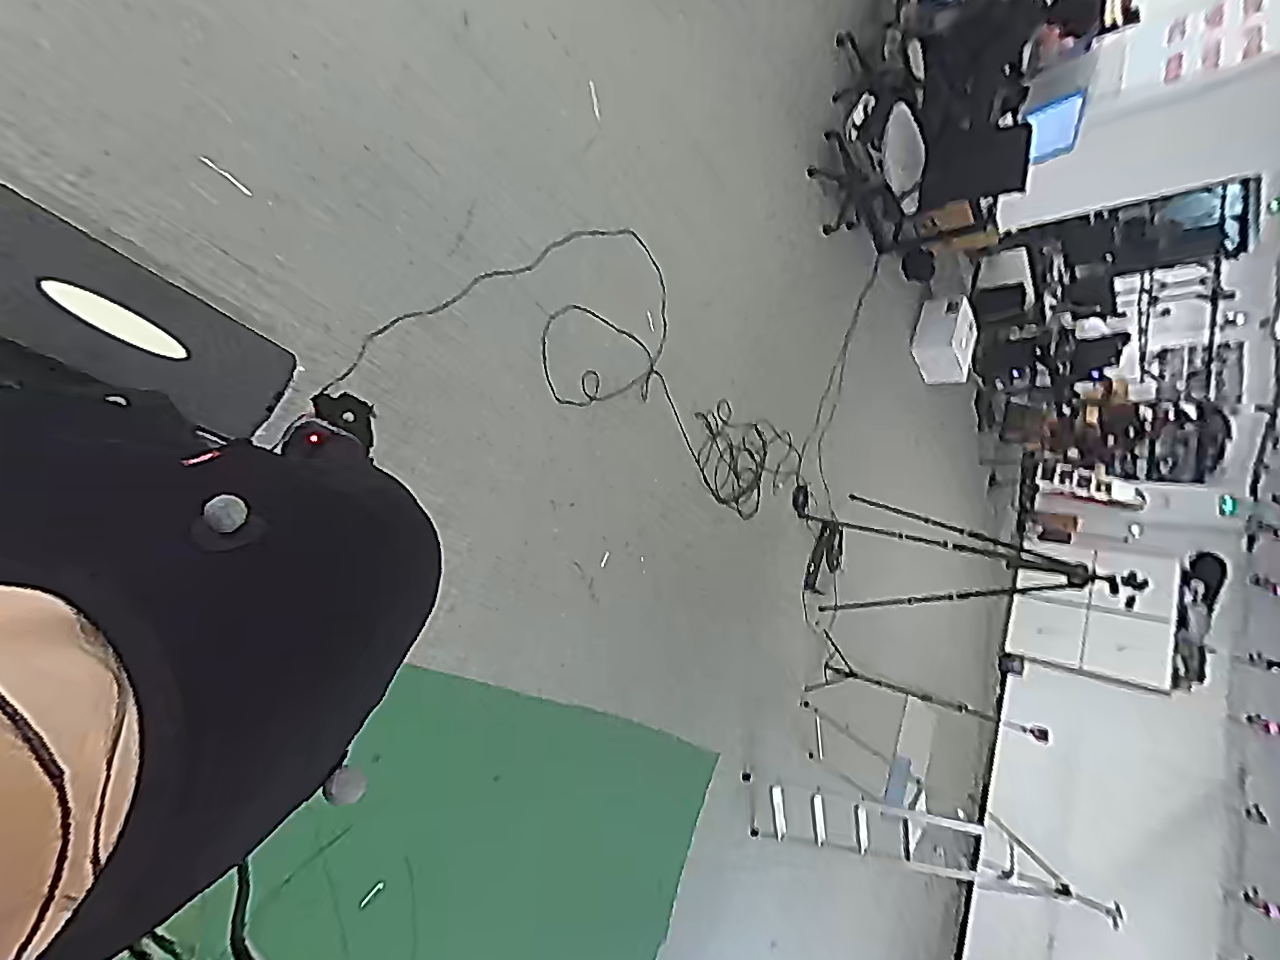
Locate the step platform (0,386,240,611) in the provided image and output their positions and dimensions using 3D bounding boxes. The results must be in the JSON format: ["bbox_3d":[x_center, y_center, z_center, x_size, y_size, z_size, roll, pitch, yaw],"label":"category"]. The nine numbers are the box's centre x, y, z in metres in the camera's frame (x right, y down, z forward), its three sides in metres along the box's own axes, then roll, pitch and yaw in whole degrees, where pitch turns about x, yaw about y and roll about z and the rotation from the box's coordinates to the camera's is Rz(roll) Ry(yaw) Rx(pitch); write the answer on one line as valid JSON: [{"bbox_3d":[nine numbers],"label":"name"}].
[{"bbox_3d":[-1.112,-0.018,0.908,0.684,0.204,0.286,37,67,-42],"label":"step platform"}]
